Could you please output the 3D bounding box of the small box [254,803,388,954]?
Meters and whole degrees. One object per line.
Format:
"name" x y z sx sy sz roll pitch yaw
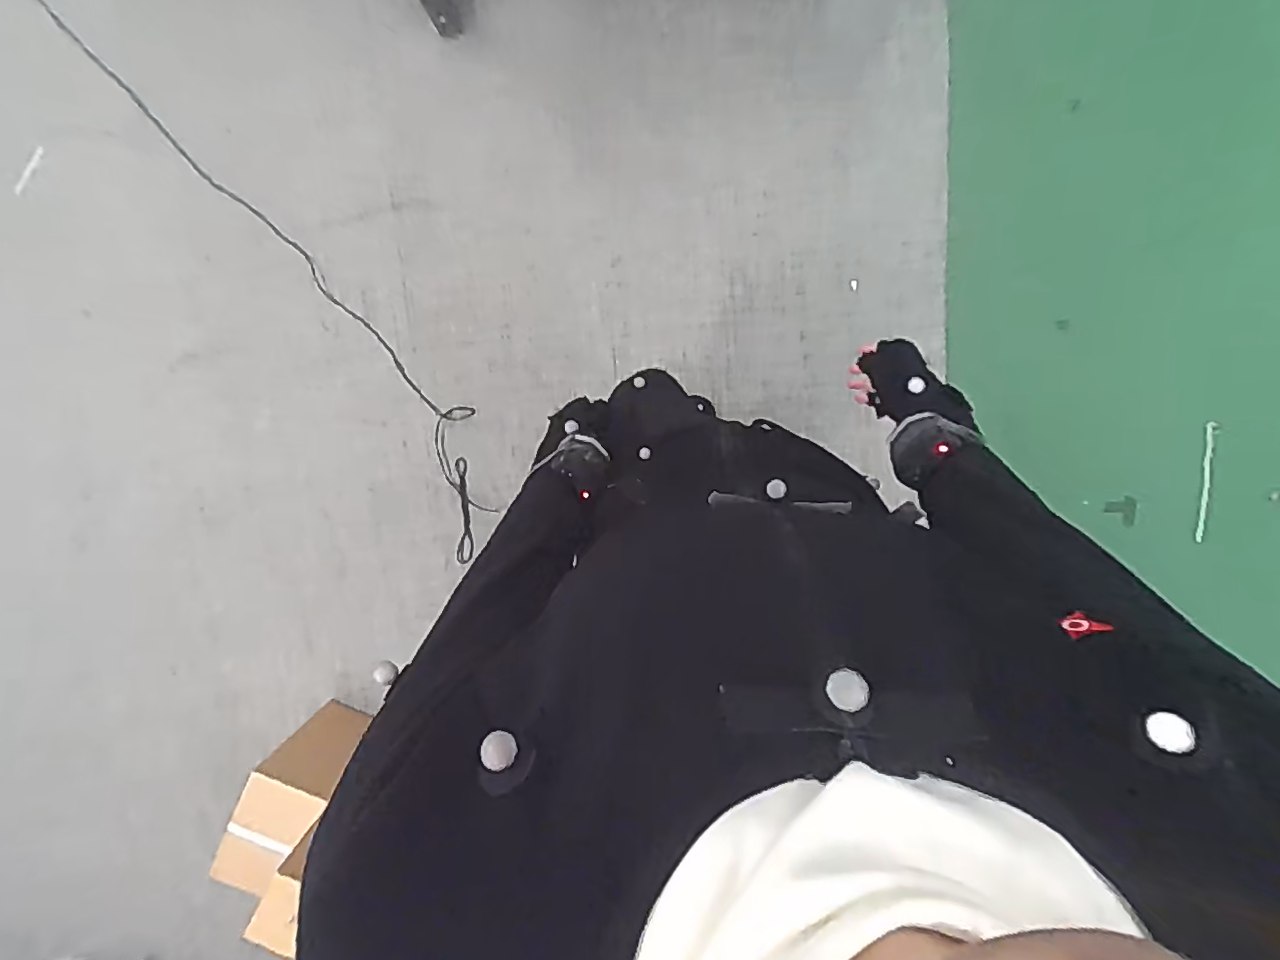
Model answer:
"small box" -0.691 0.870 1.194 0.168 0.176 0.179 27 97 -3
